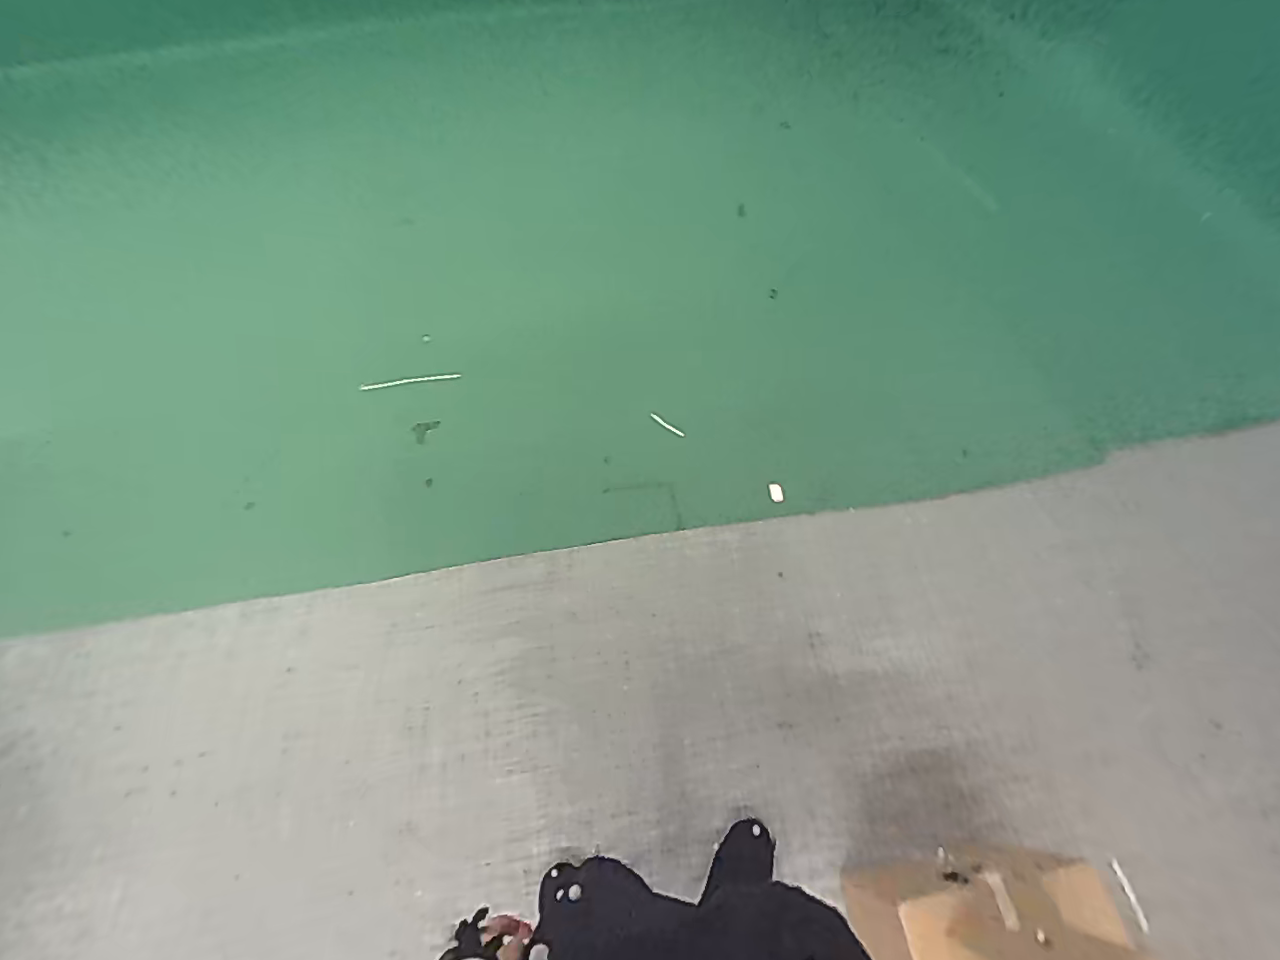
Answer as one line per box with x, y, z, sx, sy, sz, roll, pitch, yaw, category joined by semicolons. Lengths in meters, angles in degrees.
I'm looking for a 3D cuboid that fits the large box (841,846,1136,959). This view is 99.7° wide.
0.564;0.846;0.834;0.320;0.320;0.408;-10;62;-2;large box
